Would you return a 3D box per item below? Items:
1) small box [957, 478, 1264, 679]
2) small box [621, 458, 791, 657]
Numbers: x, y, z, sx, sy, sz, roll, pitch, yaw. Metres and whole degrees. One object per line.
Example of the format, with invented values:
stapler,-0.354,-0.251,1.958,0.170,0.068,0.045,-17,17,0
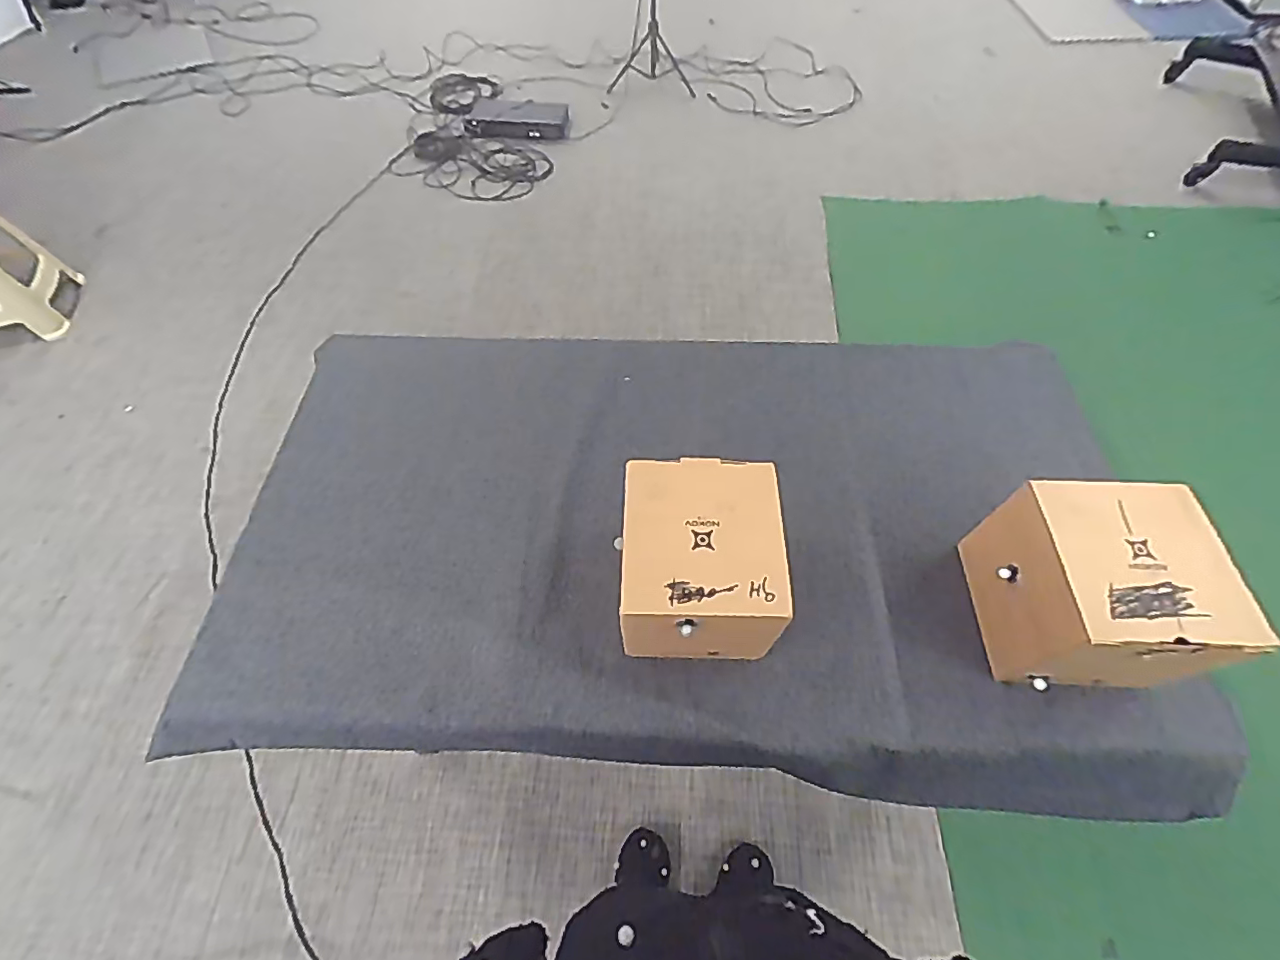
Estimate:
small box,0.492,0.116,0.604,0.168,0.176,0.179,2,58,3
small box,0.066,0.093,0.628,0.168,0.176,0.179,1,58,2
